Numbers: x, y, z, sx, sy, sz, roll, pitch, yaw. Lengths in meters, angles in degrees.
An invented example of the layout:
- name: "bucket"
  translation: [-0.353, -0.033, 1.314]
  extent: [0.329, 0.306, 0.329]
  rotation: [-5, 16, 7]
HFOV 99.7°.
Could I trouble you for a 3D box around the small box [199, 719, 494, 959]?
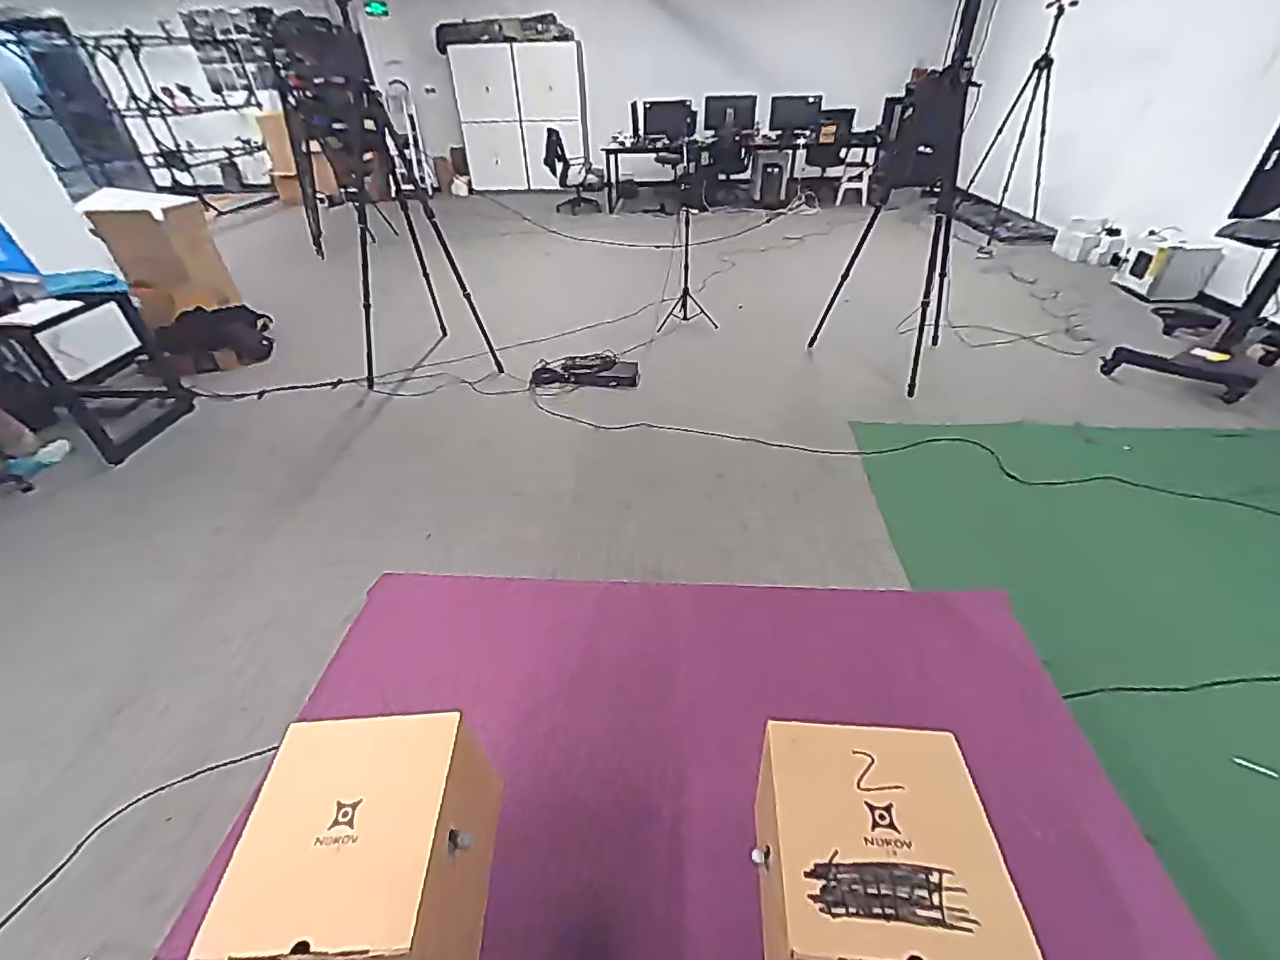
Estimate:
- name: "small box"
  translation: [-0.247, 0.354, 0.515]
  extent: [0.168, 0.176, 0.179]
  rotation: [-4, 43, 1]
